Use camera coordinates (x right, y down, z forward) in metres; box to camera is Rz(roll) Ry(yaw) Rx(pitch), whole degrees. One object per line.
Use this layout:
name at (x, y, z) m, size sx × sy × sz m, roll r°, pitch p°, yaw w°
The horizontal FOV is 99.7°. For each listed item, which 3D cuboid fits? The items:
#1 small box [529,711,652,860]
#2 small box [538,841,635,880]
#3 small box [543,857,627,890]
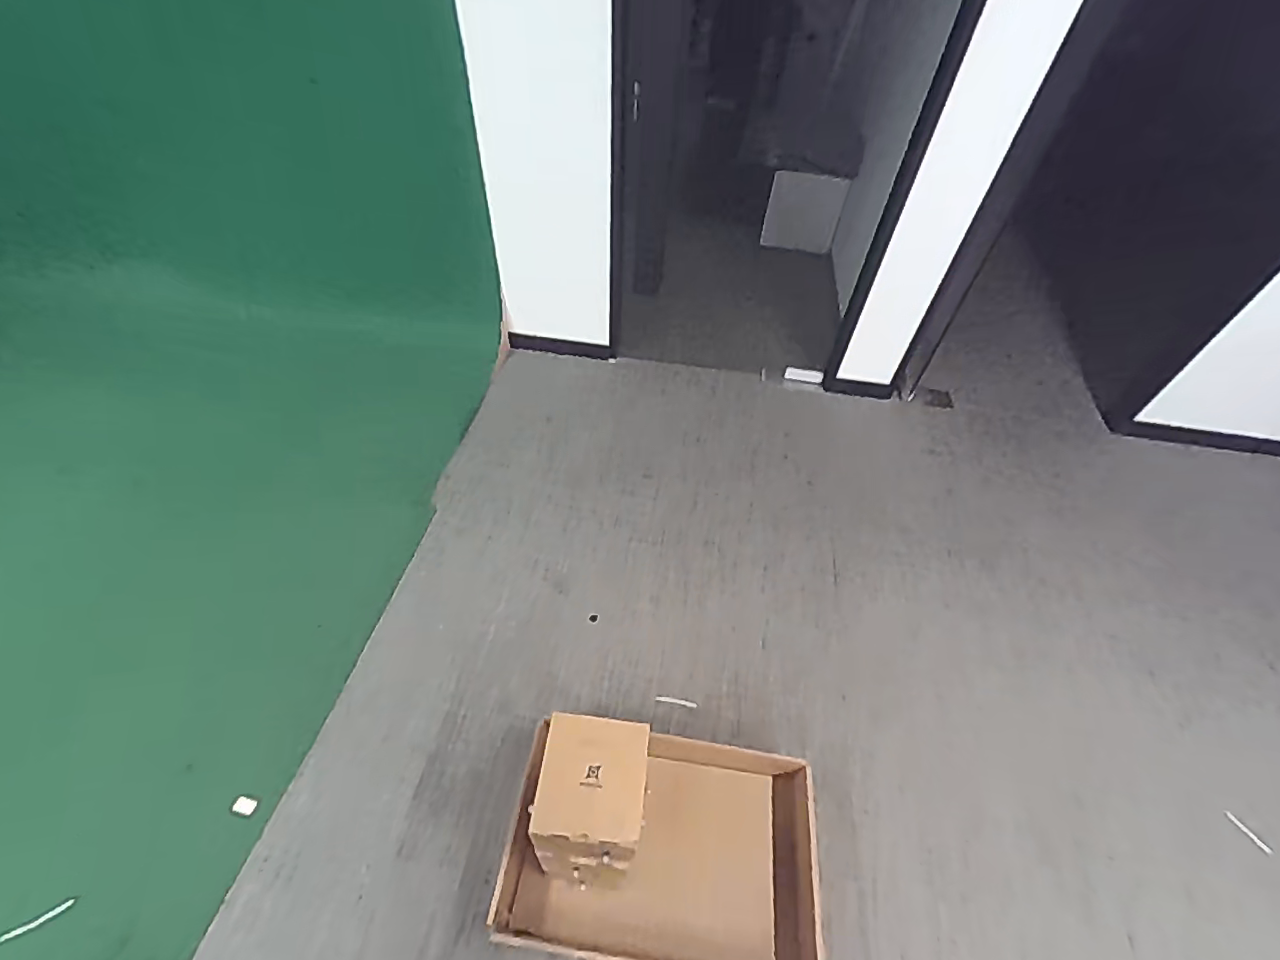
small box at (-0.077, 0.510, 0.897) m, size 0.168 × 0.176 × 0.179 m, roll 8°, pitch 48°, yaw 1°
small box at (-0.086, 0.623, 1.015) m, size 0.168 × 0.176 × 0.179 m, roll 9°, pitch 49°, yaw 3°
small box at (-0.097, 0.732, 1.135) m, size 0.168 × 0.176 × 0.179 m, roll 9°, pitch 49°, yaw 4°
